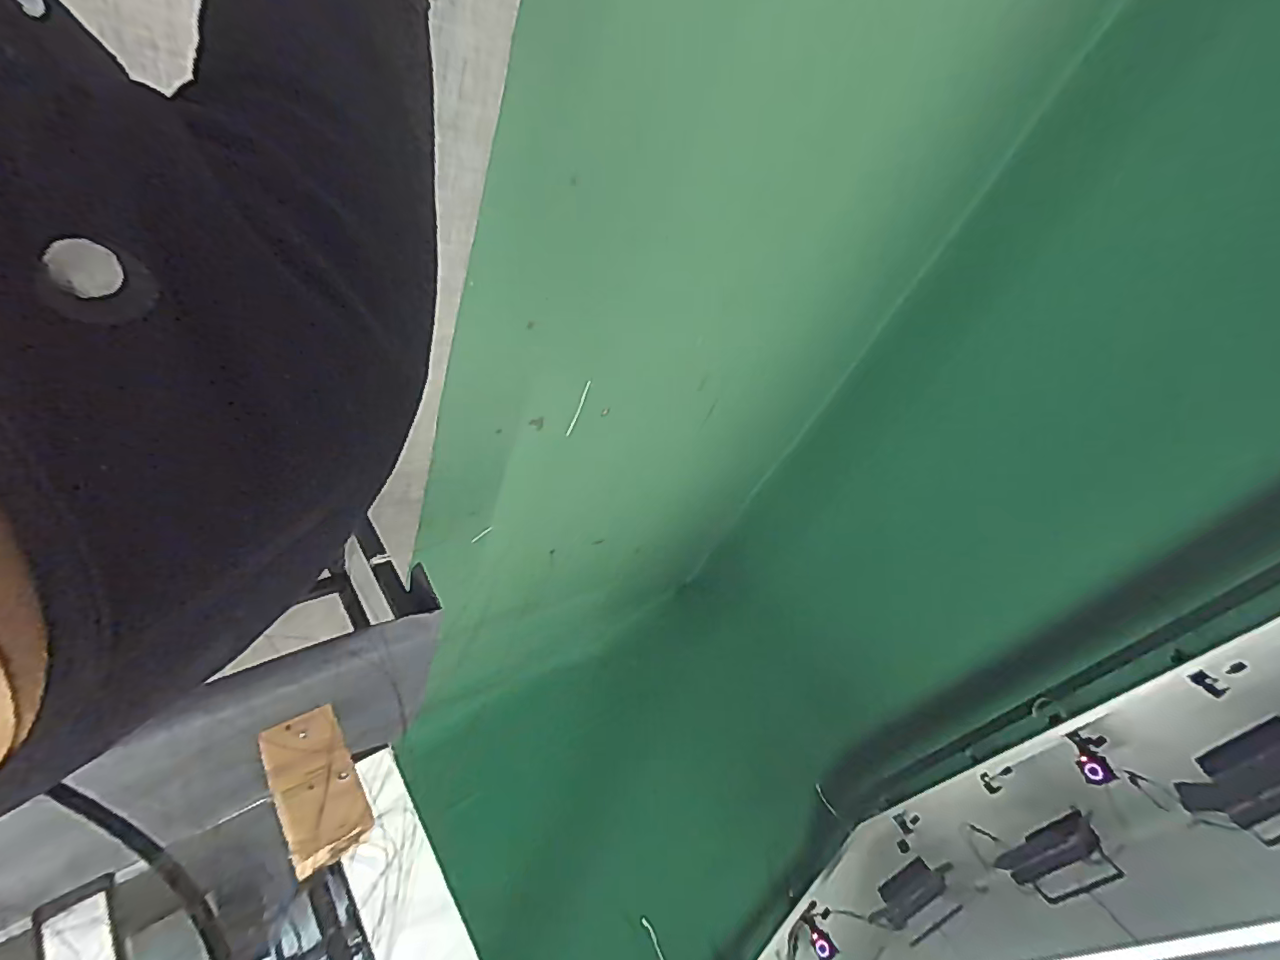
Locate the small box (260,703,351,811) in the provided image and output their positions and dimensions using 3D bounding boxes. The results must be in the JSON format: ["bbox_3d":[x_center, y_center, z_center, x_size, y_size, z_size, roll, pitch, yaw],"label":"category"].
[{"bbox_3d":[-0.886,0.725,1.431,0.168,0.176,0.179,-16,146,-42],"label":"small box"}]

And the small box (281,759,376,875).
[{"bbox_3d":[-0.790,0.840,1.365,0.168,0.176,0.179,-14,145,-43],"label":"small box"}]
